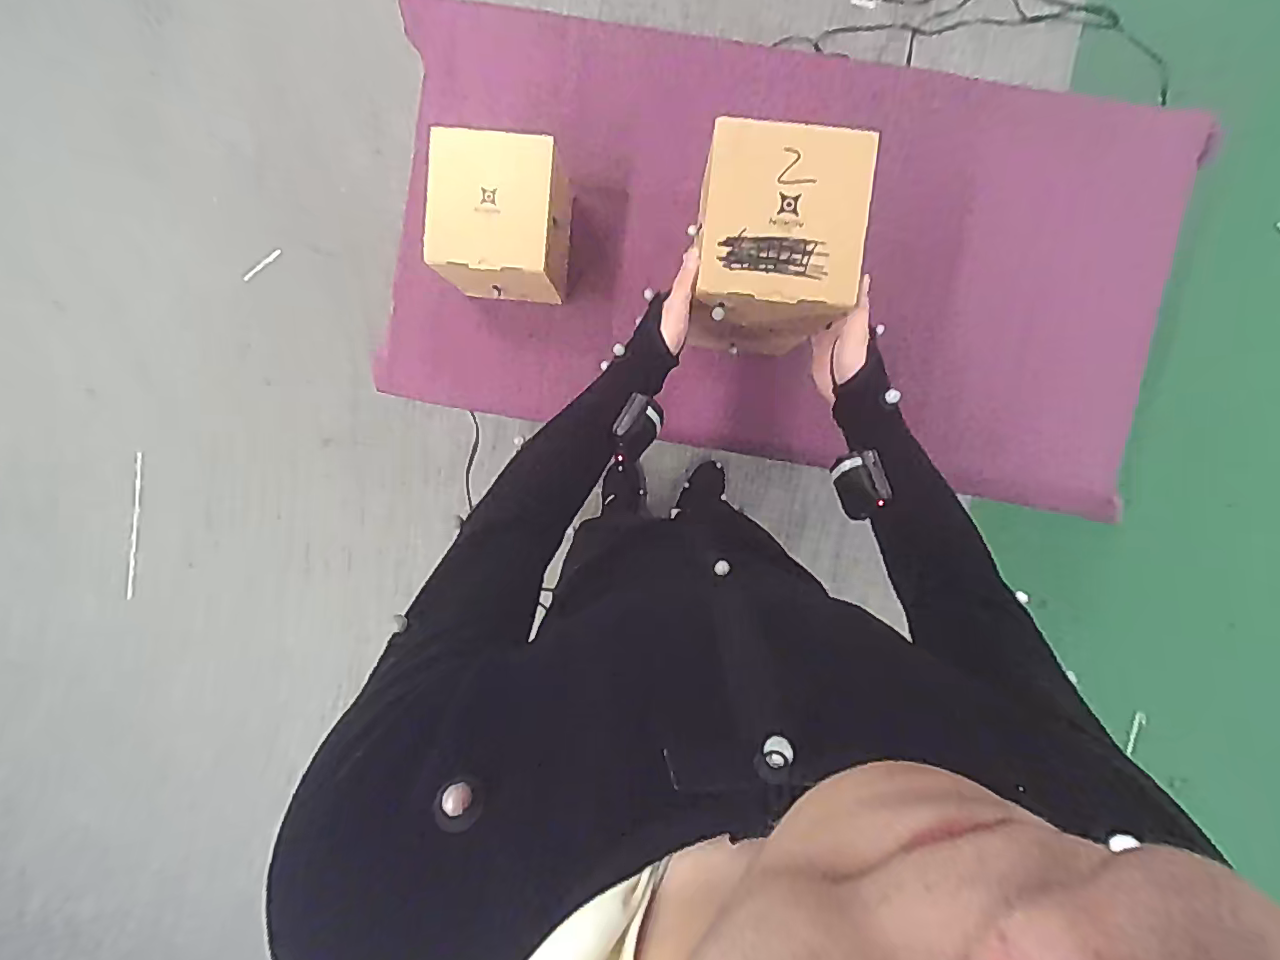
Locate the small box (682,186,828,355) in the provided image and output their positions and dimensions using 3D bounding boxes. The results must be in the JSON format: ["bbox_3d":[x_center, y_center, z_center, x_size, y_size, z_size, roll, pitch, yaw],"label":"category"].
[{"bbox_3d":[0.154,-0.291,0.784,0.168,0.176,0.179,8,95,2],"label":"small box"}]

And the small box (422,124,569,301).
[{"bbox_3d":[-0.200,-0.376,0.789,0.168,0.176,0.179,5,95,1],"label":"small box"}]
